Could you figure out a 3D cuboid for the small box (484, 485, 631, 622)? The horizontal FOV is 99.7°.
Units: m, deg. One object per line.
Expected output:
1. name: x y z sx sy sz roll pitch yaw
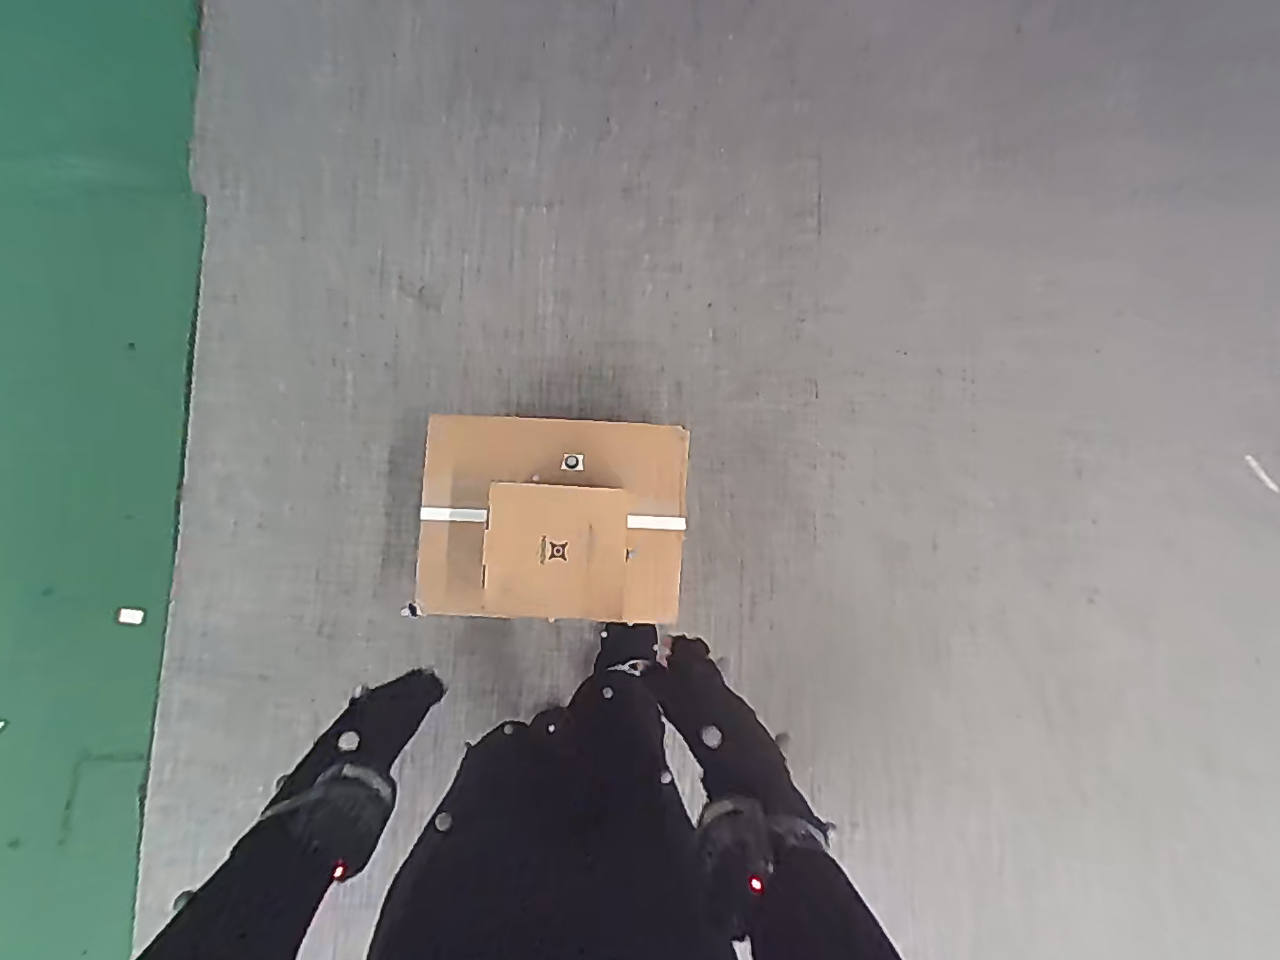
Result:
1. small box: -0.103 0.095 0.747 0.179 0.176 0.168 1 88 -1
